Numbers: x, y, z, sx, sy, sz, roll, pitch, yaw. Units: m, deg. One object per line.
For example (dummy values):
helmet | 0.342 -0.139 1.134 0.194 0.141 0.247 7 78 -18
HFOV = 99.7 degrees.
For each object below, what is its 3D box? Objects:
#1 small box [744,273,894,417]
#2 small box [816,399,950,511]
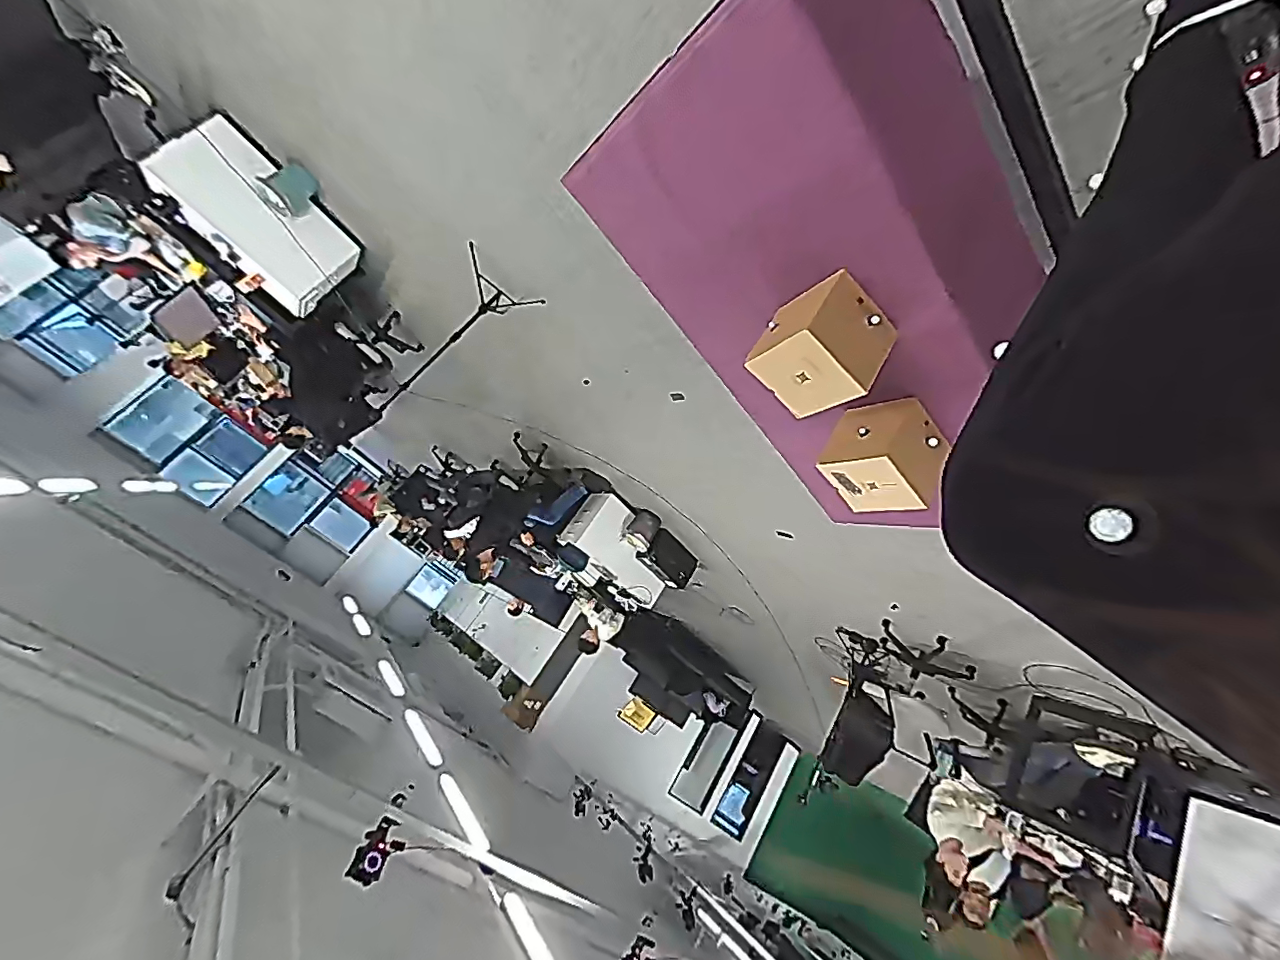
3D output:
small box | 0.338 -0.249 1.021 0.168 0.176 0.179 40 159 -15
small box | 0.524 -0.051 1.163 0.168 0.176 0.179 43 157 -21
